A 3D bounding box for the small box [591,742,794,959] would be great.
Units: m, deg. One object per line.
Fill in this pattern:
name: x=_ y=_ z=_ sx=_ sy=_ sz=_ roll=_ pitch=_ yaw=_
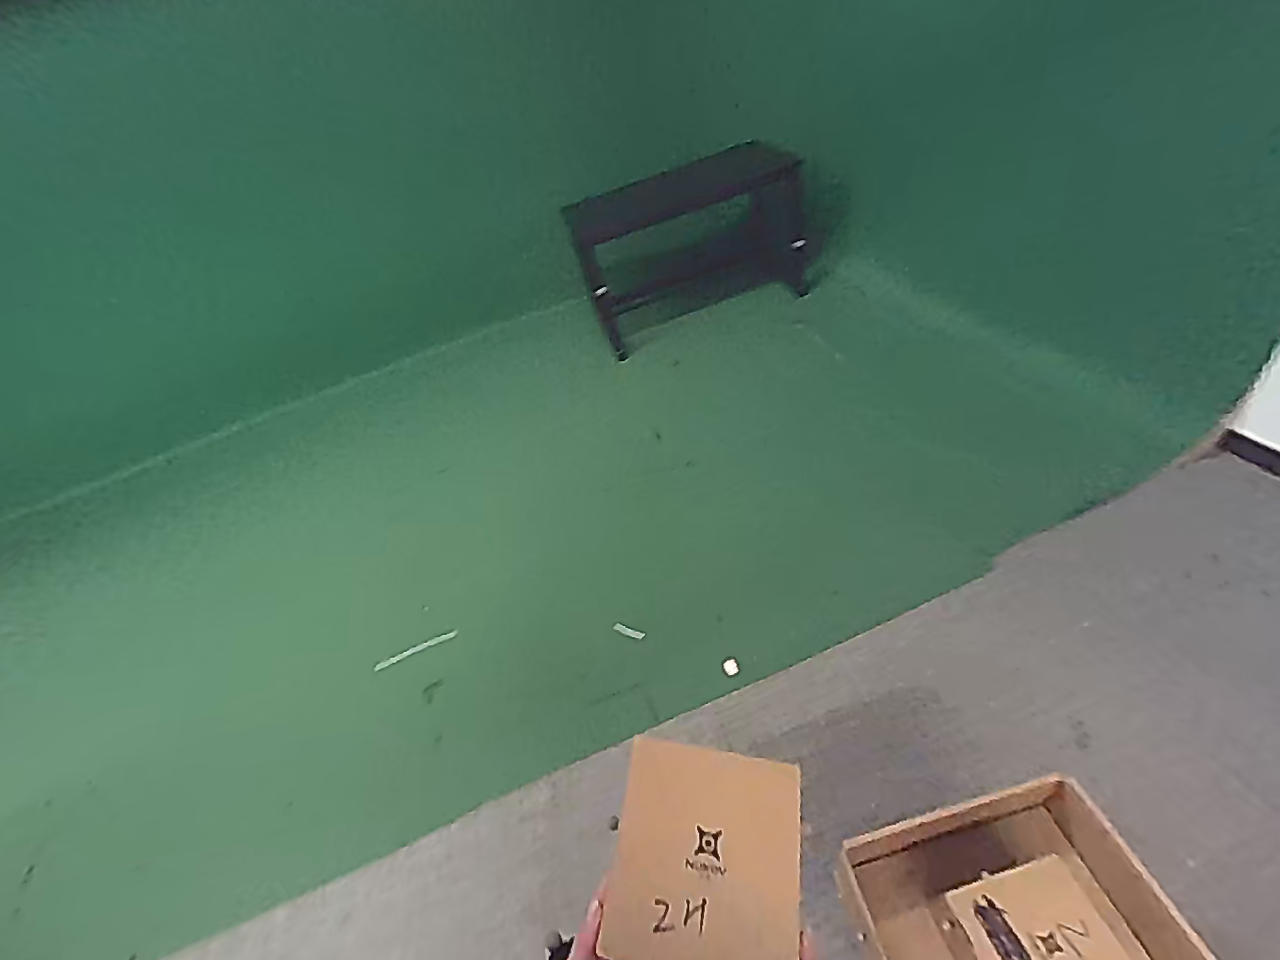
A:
small box: x=0.056 y=0.391 z=0.547 sx=0.168 sy=0.176 sz=0.179 roll=7 pitch=54 yaw=8
